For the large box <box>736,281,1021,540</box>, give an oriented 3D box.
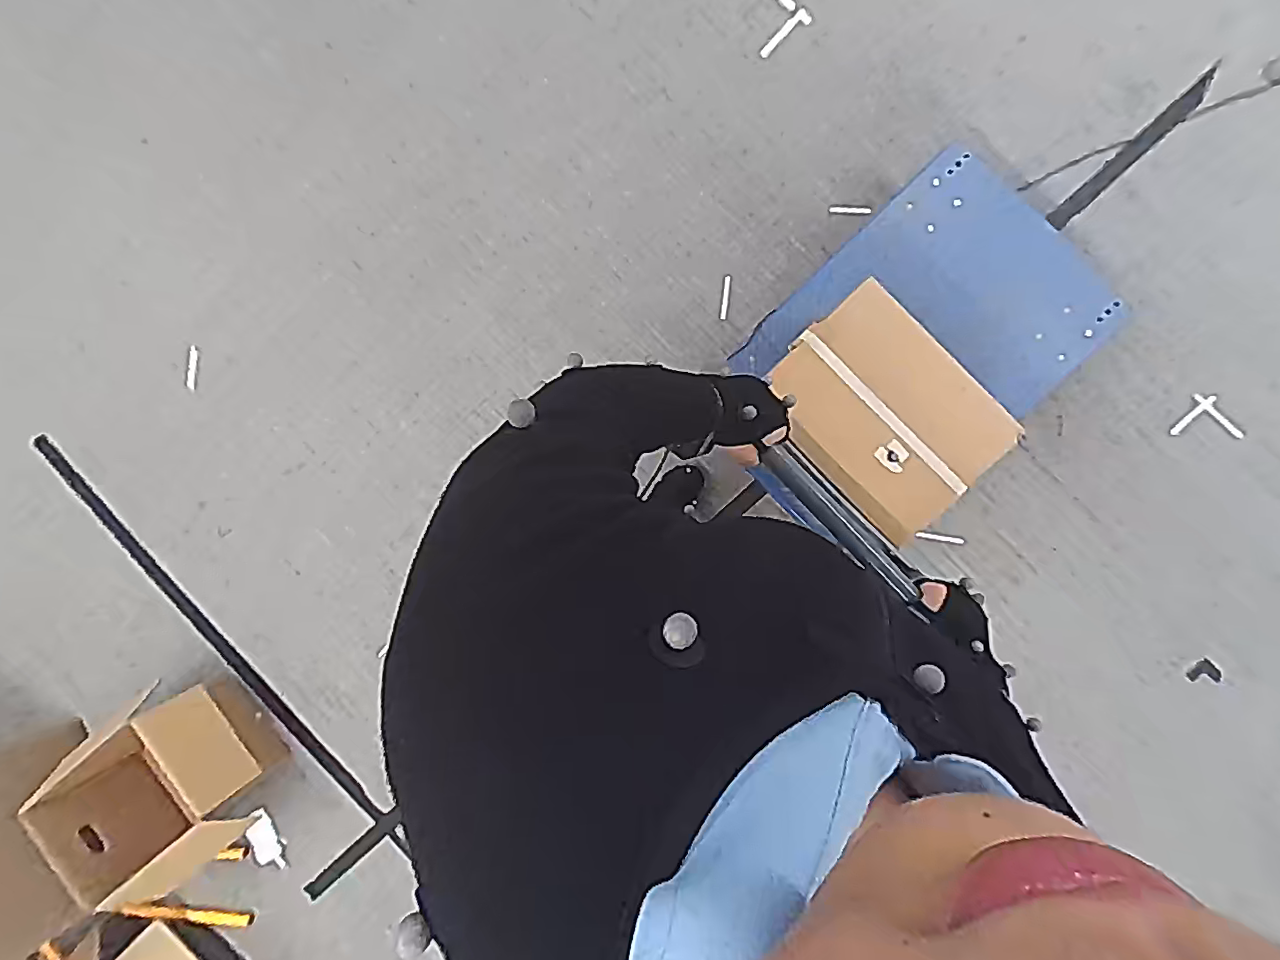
[{"bbox_3d":[0.464,-0.135,1.155,0.320,0.320,0.408,-44,88,6],"label":"large box"}]
